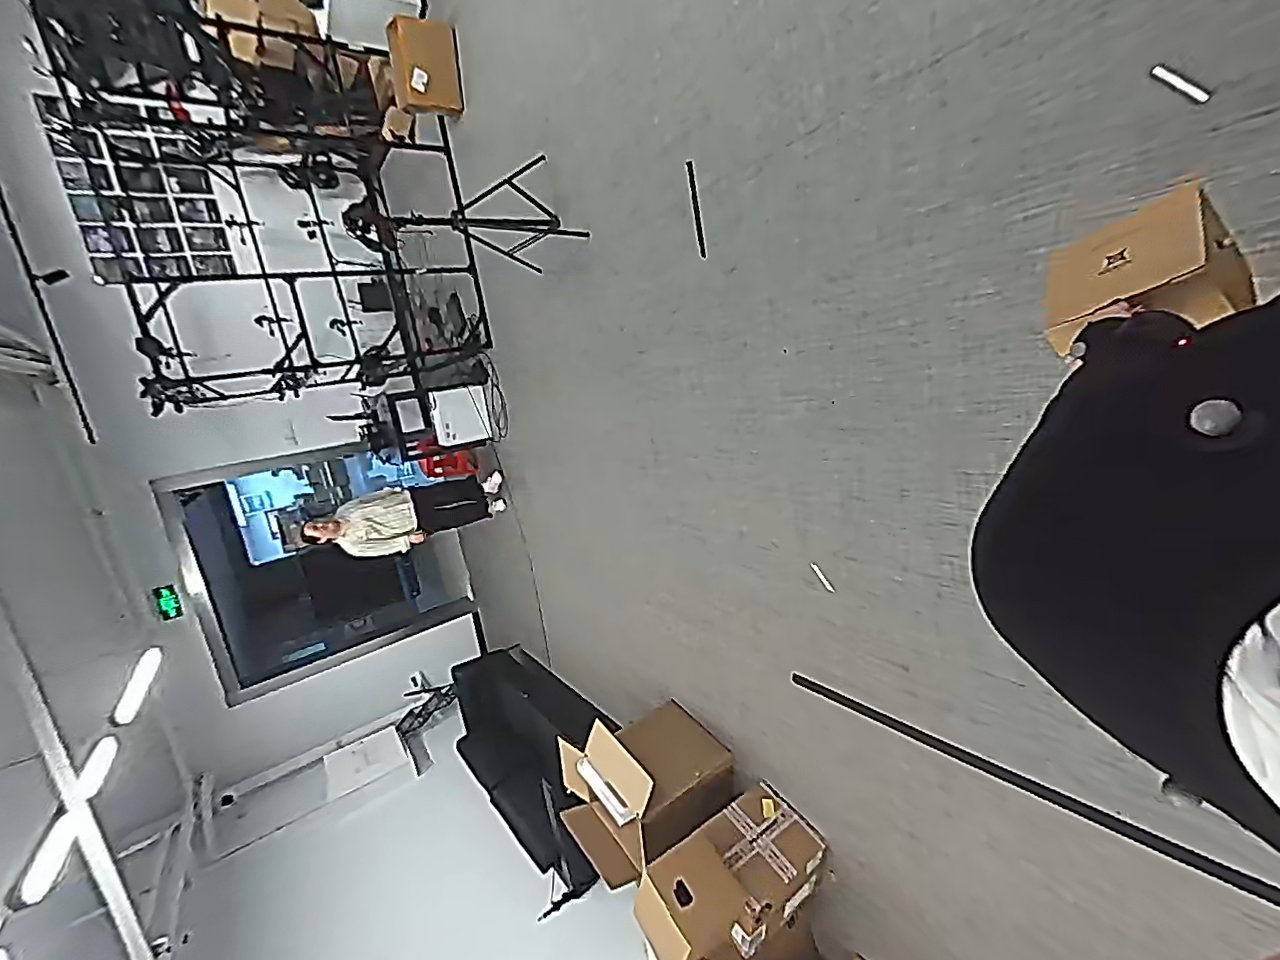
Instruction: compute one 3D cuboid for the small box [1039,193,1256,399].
[{"bbox_3d":[0.681,-0.232,0.731,0.176,0.179,0.168,39,151,-18],"label":"small box"}]
